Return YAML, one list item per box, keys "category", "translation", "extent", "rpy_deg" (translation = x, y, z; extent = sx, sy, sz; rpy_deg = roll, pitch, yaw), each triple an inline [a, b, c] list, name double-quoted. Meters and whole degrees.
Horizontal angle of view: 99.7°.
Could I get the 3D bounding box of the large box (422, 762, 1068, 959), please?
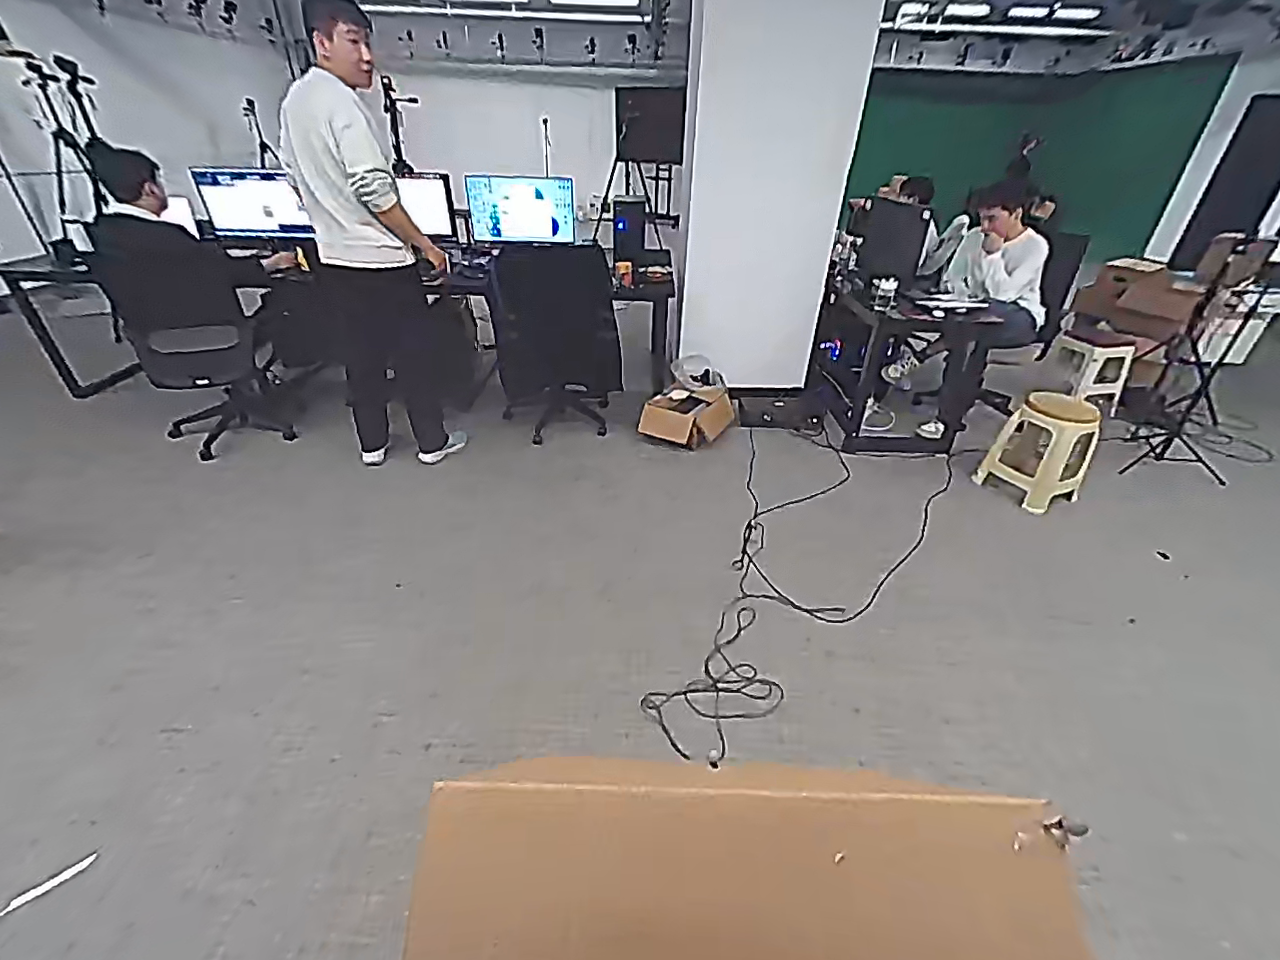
- category: "large box"
  translation: [0.064, 0.412, 0.444]
  extent: [0.408, 0.320, 0.320]
  rpy_deg: [0, 67, 2]
